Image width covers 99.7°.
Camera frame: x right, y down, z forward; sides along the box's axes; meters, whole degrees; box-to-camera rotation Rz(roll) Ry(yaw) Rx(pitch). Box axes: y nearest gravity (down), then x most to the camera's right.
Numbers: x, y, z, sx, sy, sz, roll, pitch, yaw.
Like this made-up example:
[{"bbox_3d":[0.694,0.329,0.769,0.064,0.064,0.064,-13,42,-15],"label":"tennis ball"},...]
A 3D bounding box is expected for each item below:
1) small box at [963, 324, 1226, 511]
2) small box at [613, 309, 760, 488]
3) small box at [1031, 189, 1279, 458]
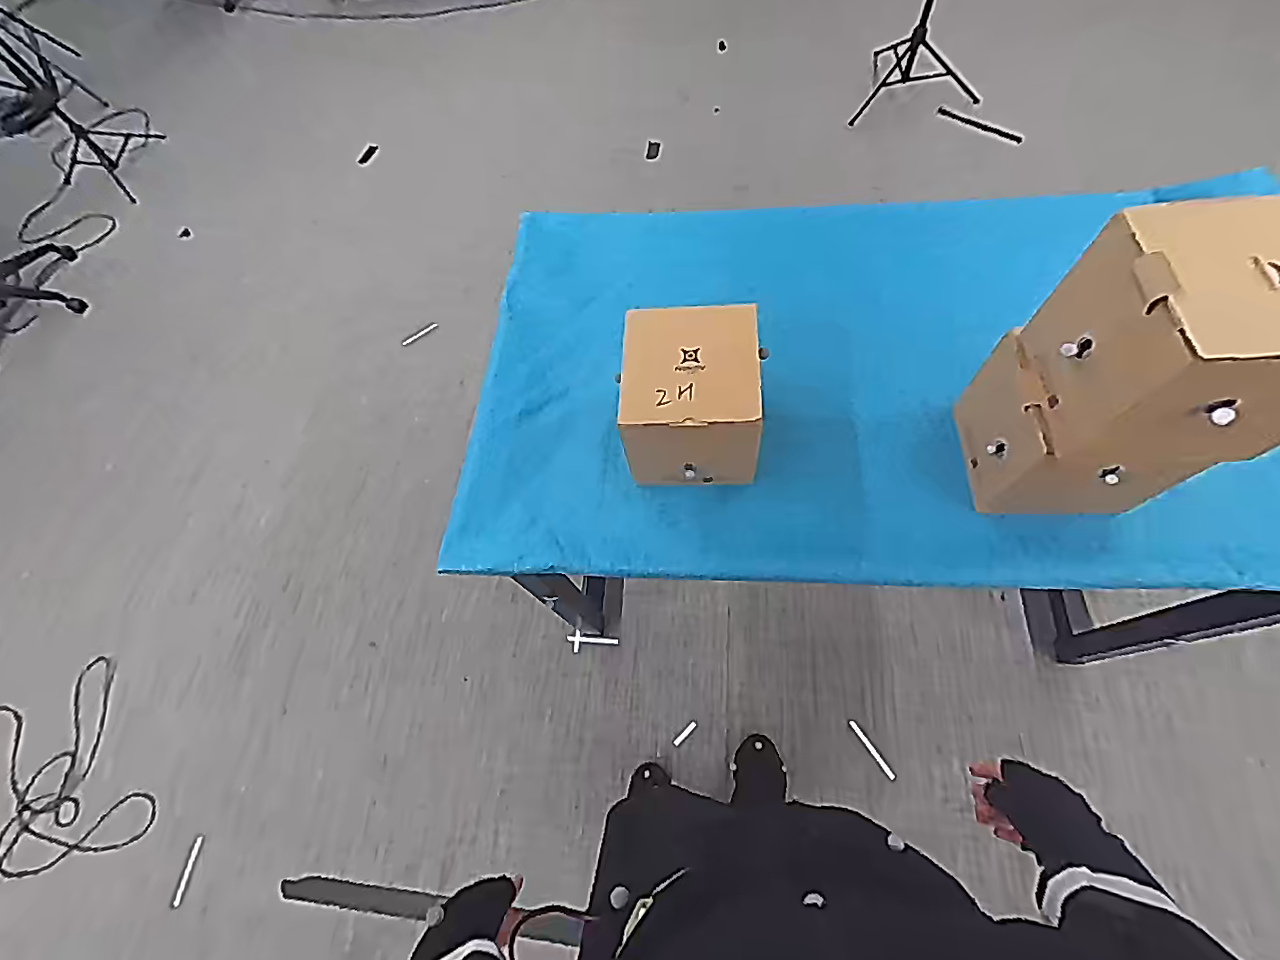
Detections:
[{"bbox_3d":[0.510,-0.068,0.640,0.179,0.176,0.168,0,66,8],"label":"small box"},{"bbox_3d":[0.068,-0.104,0.720,0.168,0.176,0.179,2,68,10],"label":"small box"},{"bbox_3d":[0.497,-0.129,0.490,0.179,0.176,0.168,-3,65,6],"label":"small box"}]
